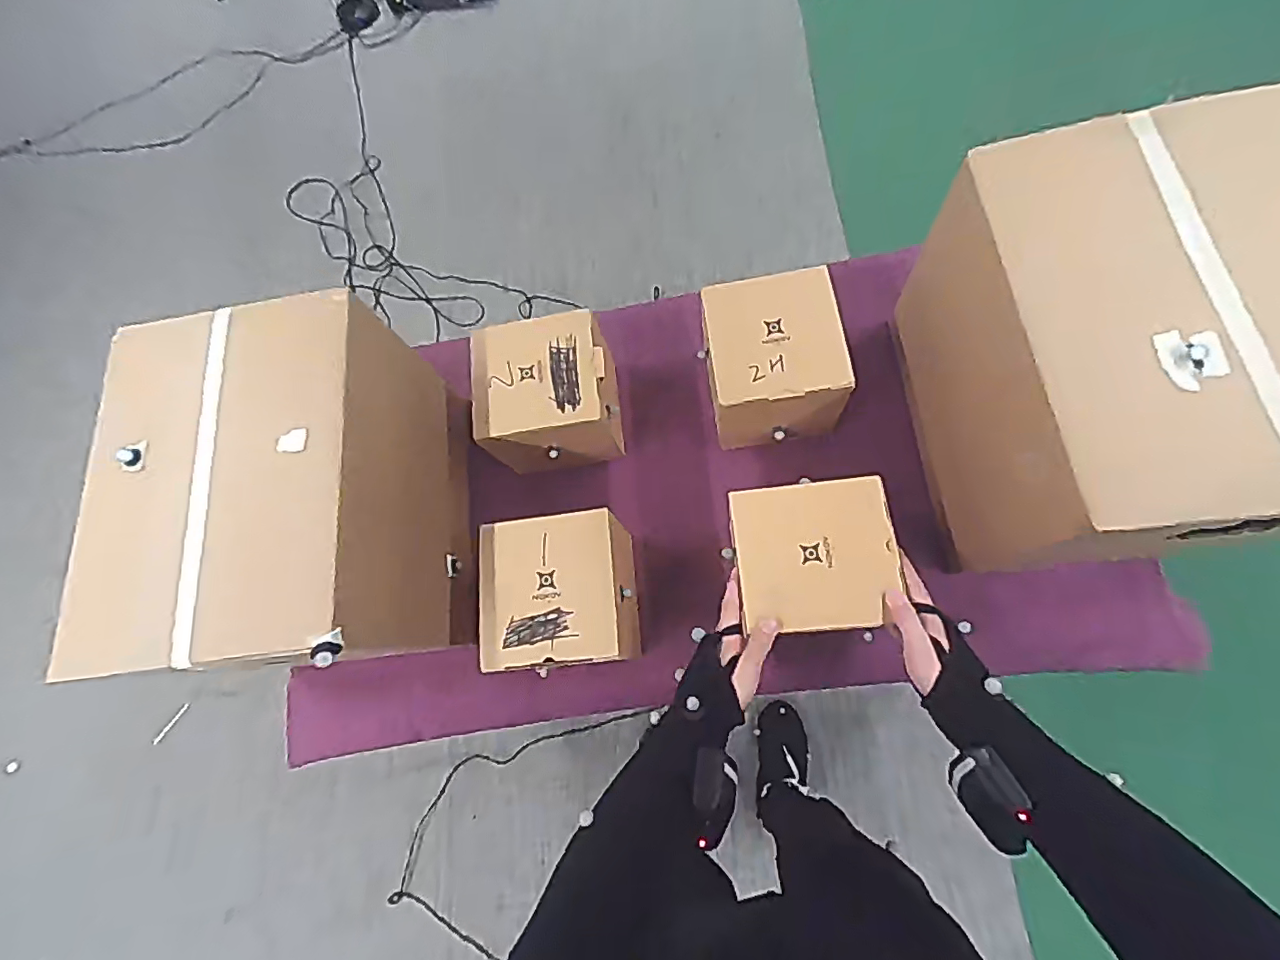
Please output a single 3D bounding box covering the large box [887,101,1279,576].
[{"bbox_3d":[0.523,-0.119,0.618,0.320,0.320,0.408,-8,73,8],"label":"large box"}]
